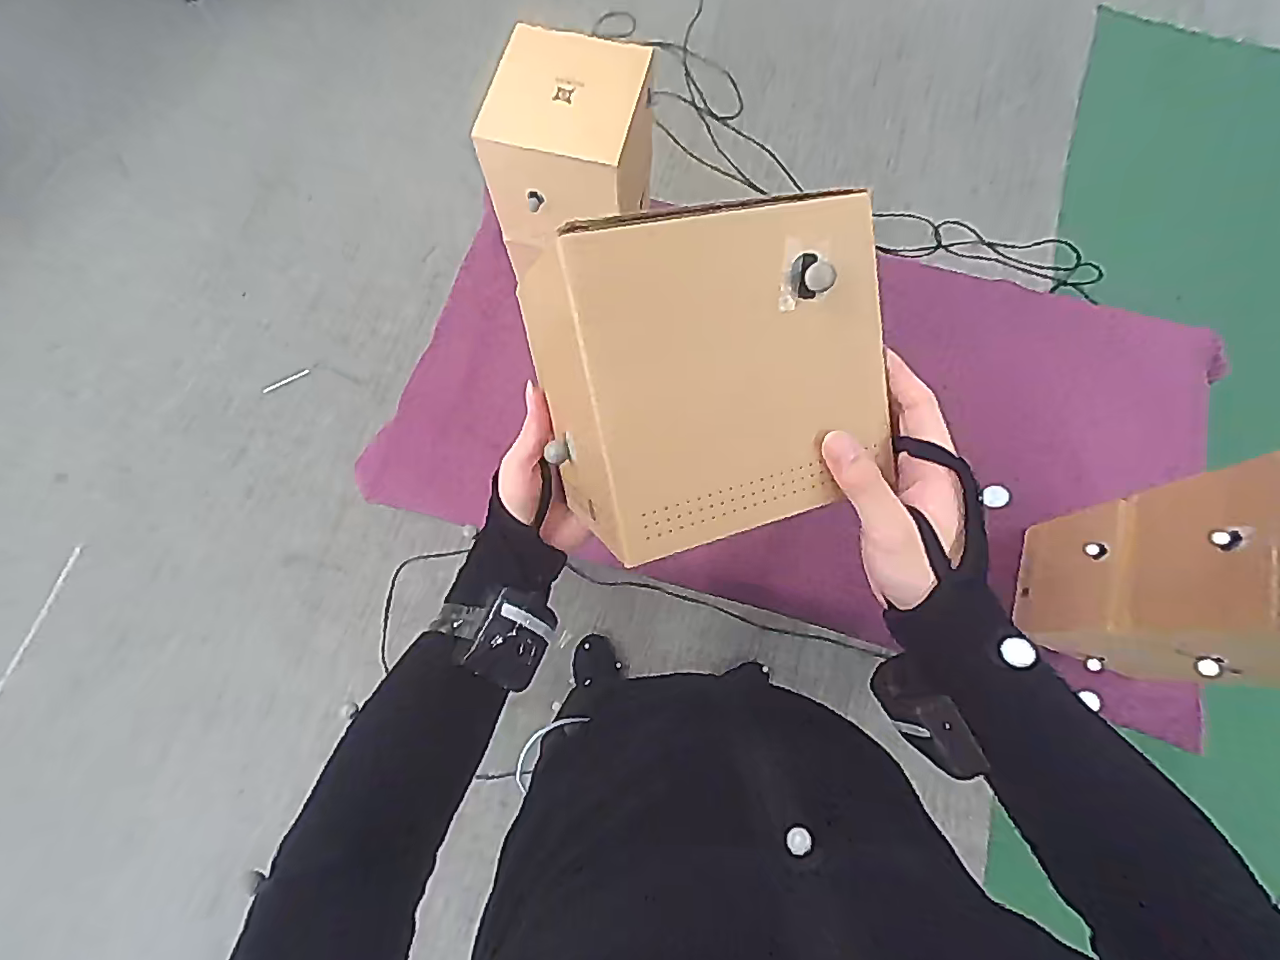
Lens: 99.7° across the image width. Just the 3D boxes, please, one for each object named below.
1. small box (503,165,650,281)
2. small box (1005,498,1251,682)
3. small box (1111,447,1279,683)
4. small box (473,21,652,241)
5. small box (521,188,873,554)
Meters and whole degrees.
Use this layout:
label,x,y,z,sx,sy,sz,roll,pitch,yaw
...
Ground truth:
label,x,y,z,sx,sy,sz,roll,pitch,yaw
small box,-0.087,-0.376,0.834,0.179,0.176,0.168,12,75,3
small box,0.624,0.143,0.700,0.179,0.176,0.168,20,74,5
small box,0.628,0.095,0.544,0.168,0.176,0.179,19,75,7
small box,-0.083,-0.412,0.676,0.168,0.176,0.179,13,74,3
small box,0.032,-0.071,0.360,0.179,0.168,0.176,-16,105,-15
